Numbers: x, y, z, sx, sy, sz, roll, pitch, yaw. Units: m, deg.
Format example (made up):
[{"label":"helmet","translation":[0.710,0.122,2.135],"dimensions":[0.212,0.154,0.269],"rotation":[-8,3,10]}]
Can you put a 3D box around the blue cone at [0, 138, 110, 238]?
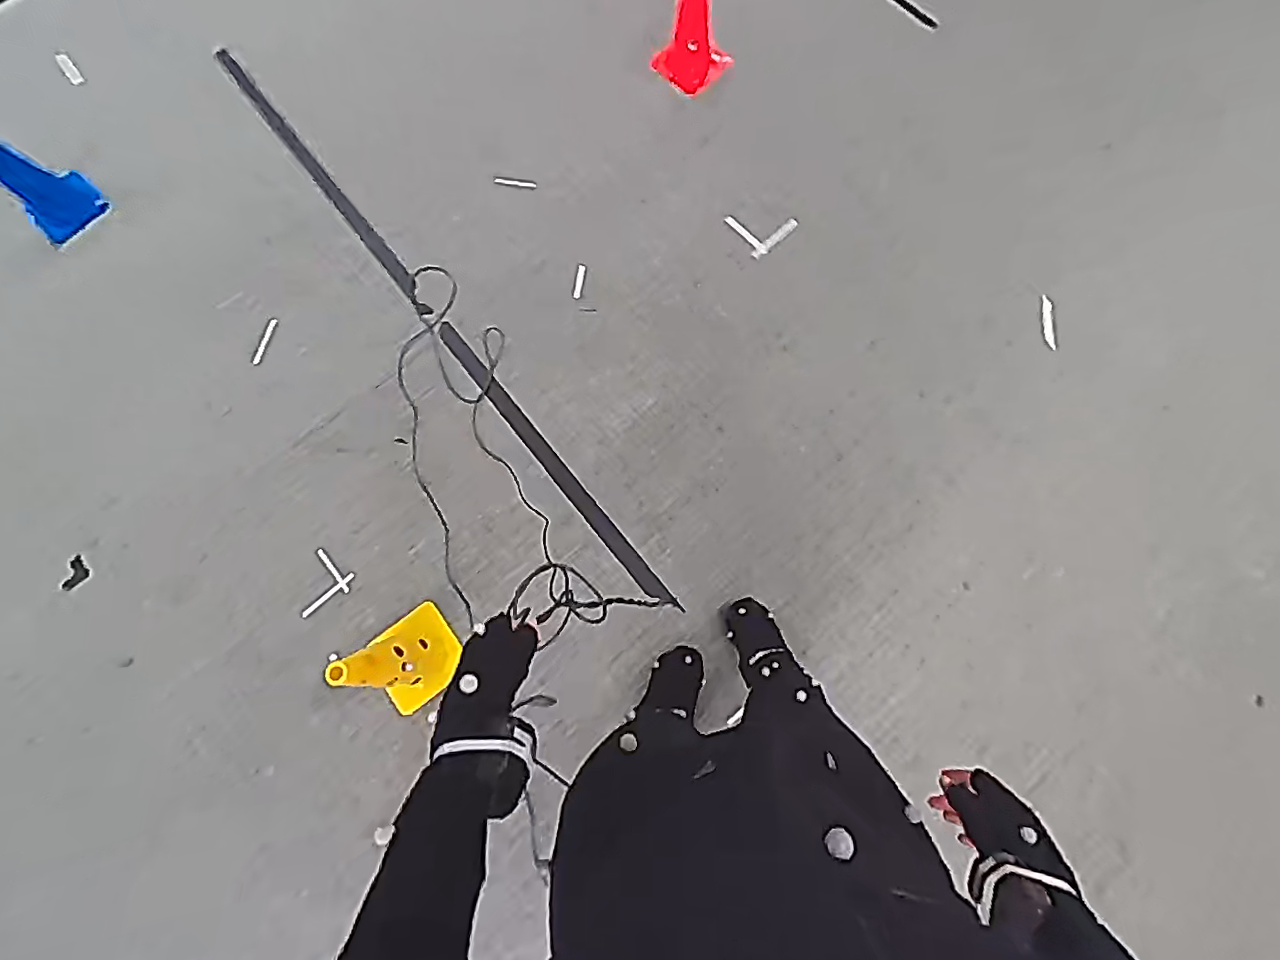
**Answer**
[{"label":"blue cone","translation":[-1.736,-0.874,1.482],"dimensions":[0.192,0.380,0.193],"rotation":[-44,79,-9]}]

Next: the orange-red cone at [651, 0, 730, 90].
[{"label":"orange-red cone","translation":[0.153,-1.382,1.555],"dimensions":[0.198,0.360,0.199],"rotation":[-44,78,-9]}]
